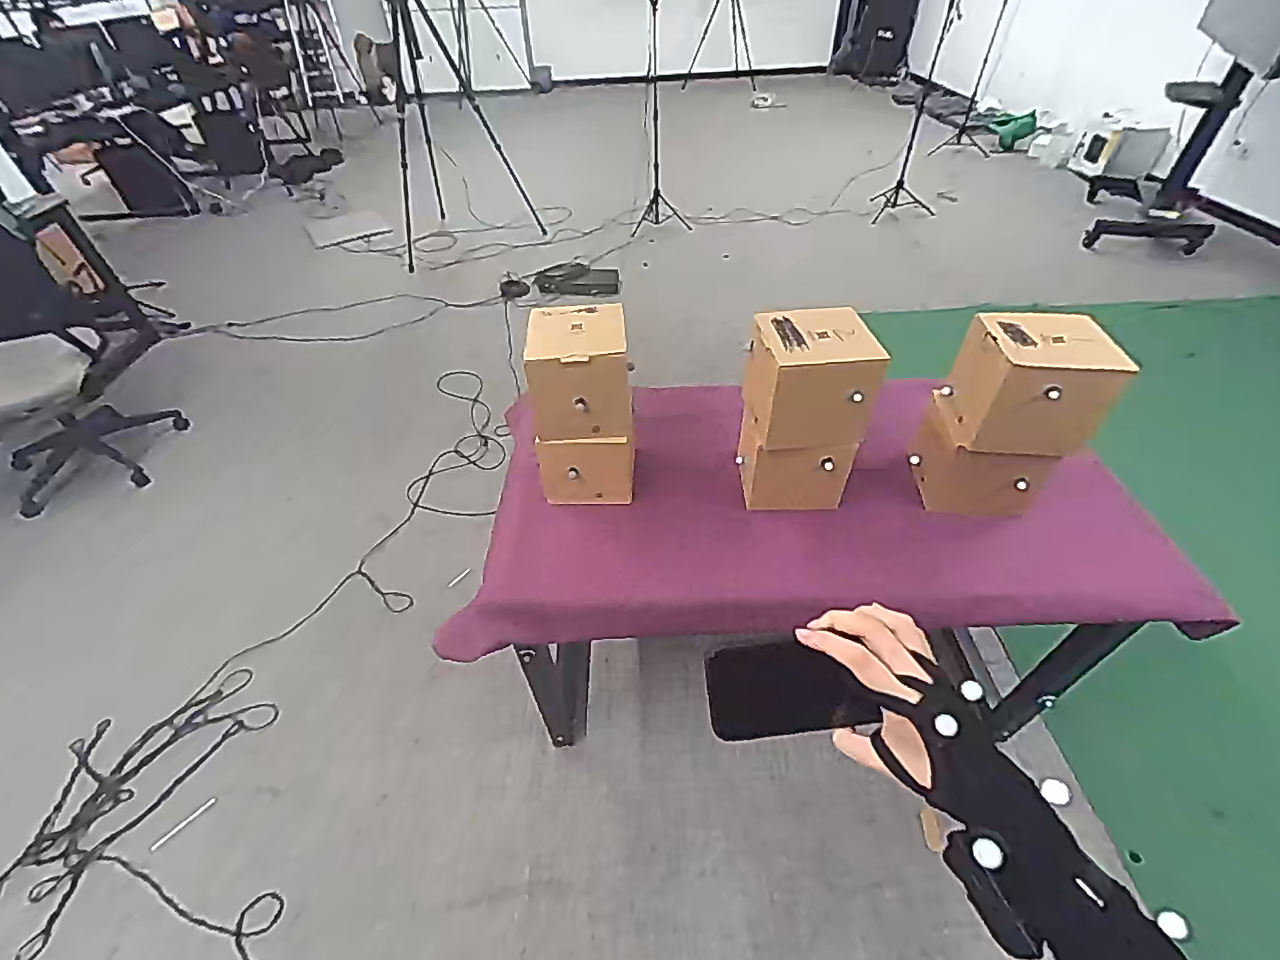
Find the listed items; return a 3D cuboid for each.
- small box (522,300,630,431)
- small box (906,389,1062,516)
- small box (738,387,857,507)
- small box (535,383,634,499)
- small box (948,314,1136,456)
[{"bbox_3d":[-0.105,-0.198,0.961,0.168,0.176,0.179,-3,46,-1],"label":"small box"},{"bbox_3d":[0.629,-0.050,1.014,0.179,0.176,0.168,4,45,7],"label":"small box"},{"bbox_3d":[0.290,-0.061,1.038,0.179,0.176,0.168,0,45,3],"label":"small box"},{"bbox_3d":[-0.099,-0.076,1.072,0.168,0.176,0.179,0,45,3],"label":"small box"},{"bbox_3d":[0.632,-0.154,0.887,0.179,0.176,0.168,5,45,6],"label":"small box"}]
